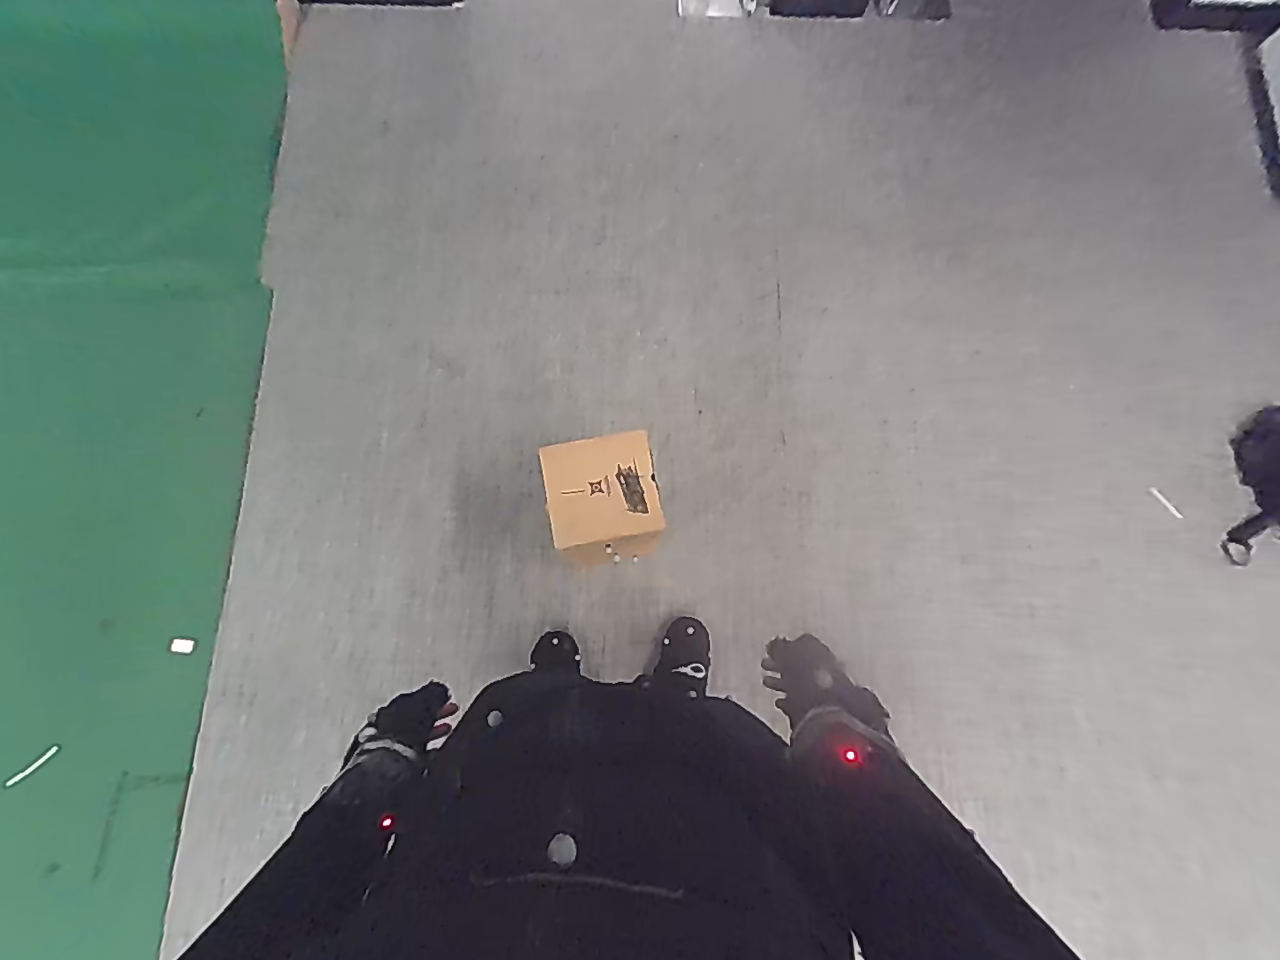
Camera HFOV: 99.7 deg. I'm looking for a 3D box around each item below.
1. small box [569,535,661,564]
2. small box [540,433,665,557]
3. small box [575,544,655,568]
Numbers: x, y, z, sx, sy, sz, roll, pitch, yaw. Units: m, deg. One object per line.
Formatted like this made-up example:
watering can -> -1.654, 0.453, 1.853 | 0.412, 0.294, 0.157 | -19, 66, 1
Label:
small box -> -0.065, 0.068, 1.086 | 0.179, 0.176, 0.168 | -14, 80, -3
small box -> -0.062, 0.032, 0.923 | 0.179, 0.176, 0.168 | -11, 78, -2
small box -> -0.069, 0.104, 1.244 | 0.179, 0.176, 0.168 | -12, 78, -2
